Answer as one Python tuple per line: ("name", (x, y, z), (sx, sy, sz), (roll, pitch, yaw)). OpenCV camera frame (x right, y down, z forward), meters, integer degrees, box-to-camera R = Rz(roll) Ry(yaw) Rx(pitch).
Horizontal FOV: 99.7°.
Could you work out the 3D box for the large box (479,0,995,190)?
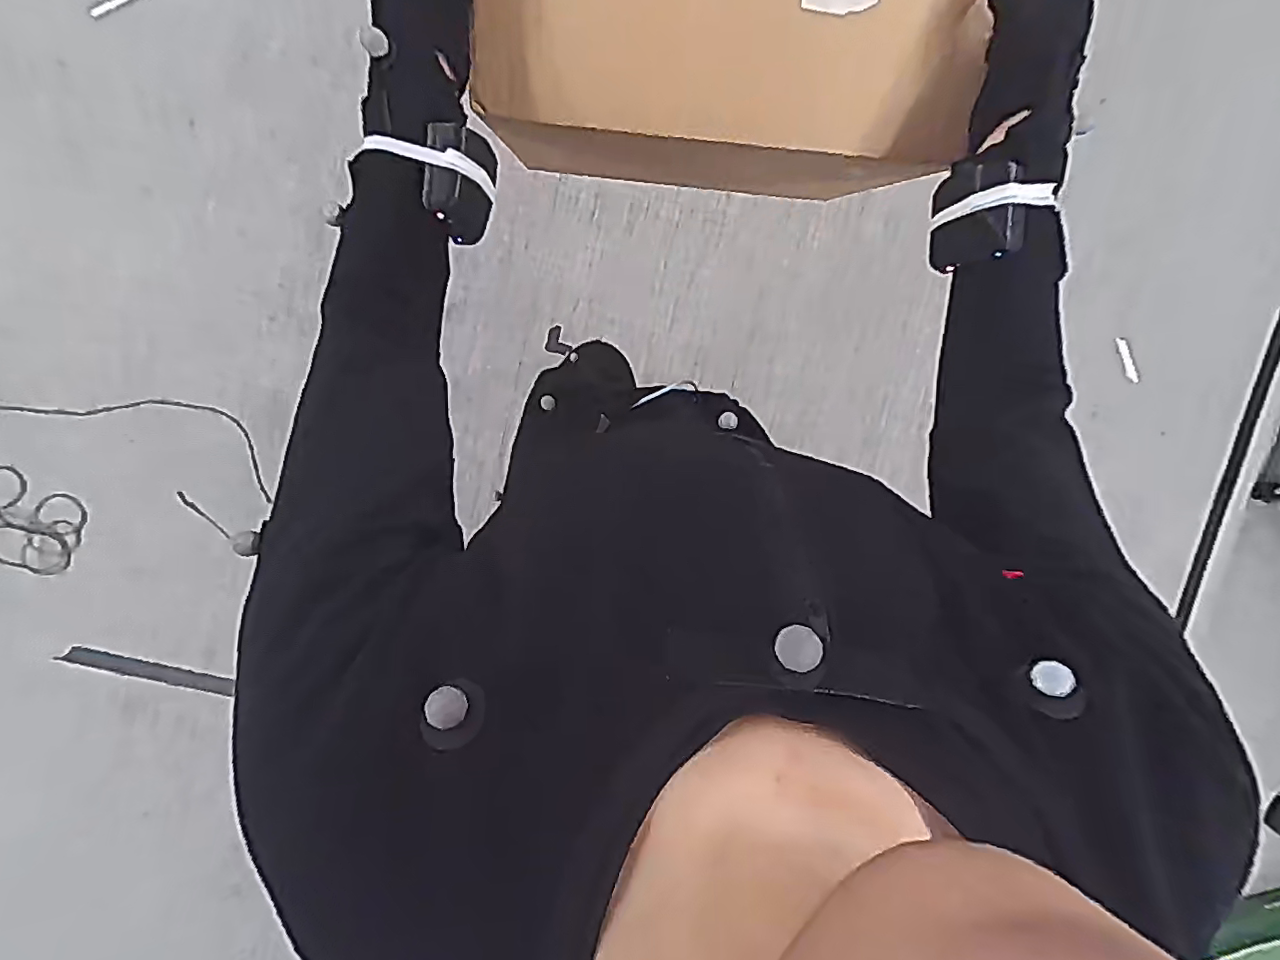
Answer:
("large box", (0.071, -0.483, 0.521), (0.408, 0.320, 0.320), (3, 113, -5))
